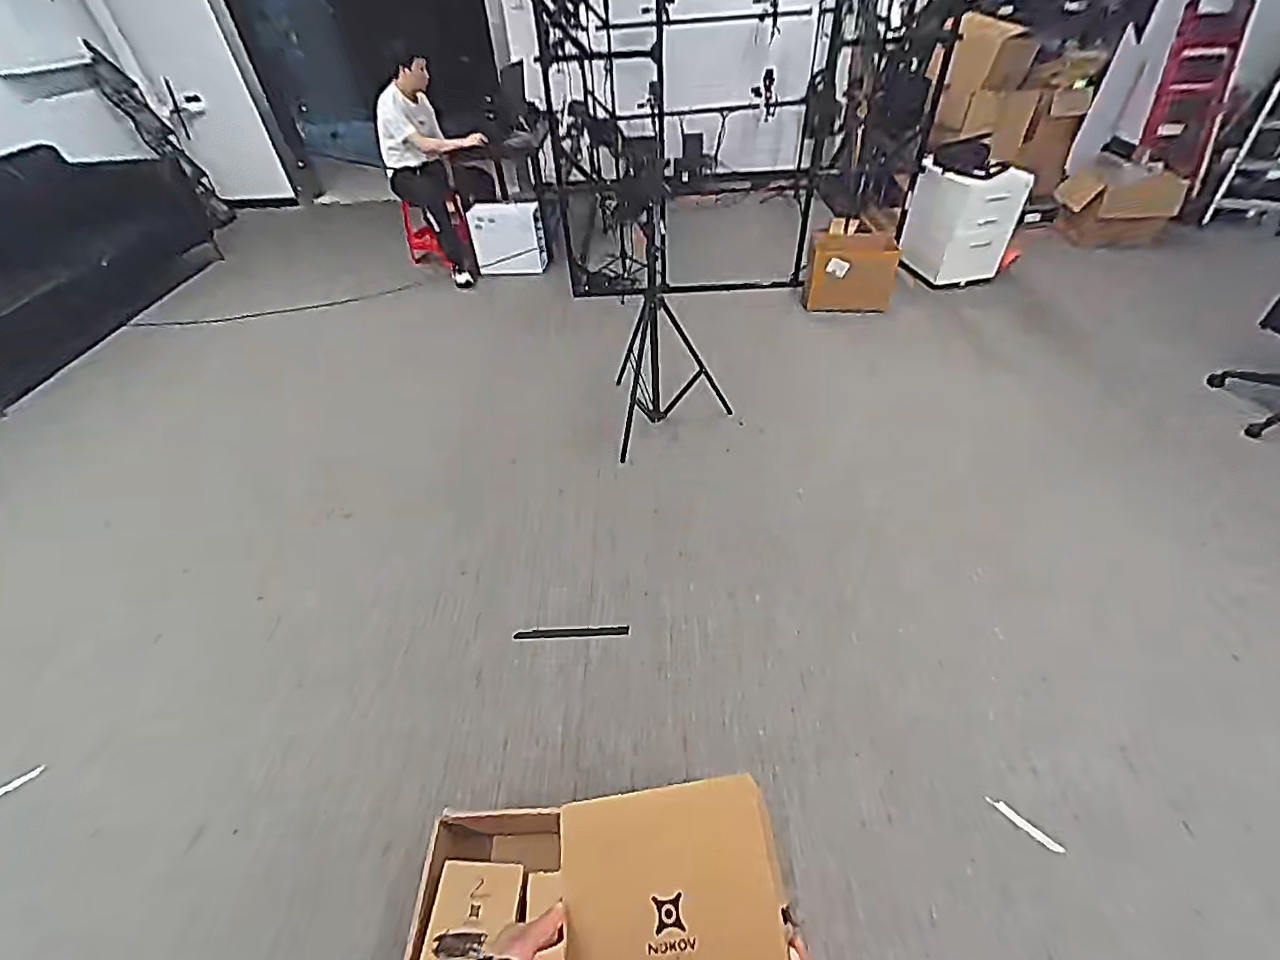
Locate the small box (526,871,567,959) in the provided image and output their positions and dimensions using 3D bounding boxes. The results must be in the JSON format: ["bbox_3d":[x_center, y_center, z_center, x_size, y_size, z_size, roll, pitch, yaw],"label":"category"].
[{"bbox_3d":[-0.127,0.898,1.076,0.168,0.176,0.179,-5,43,-2],"label":"small box"}]

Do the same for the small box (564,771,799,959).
[{"bbox_3d":[0.041,0.366,0.458,0.168,0.176,0.179,-13,54,6],"label":"small box"}]
